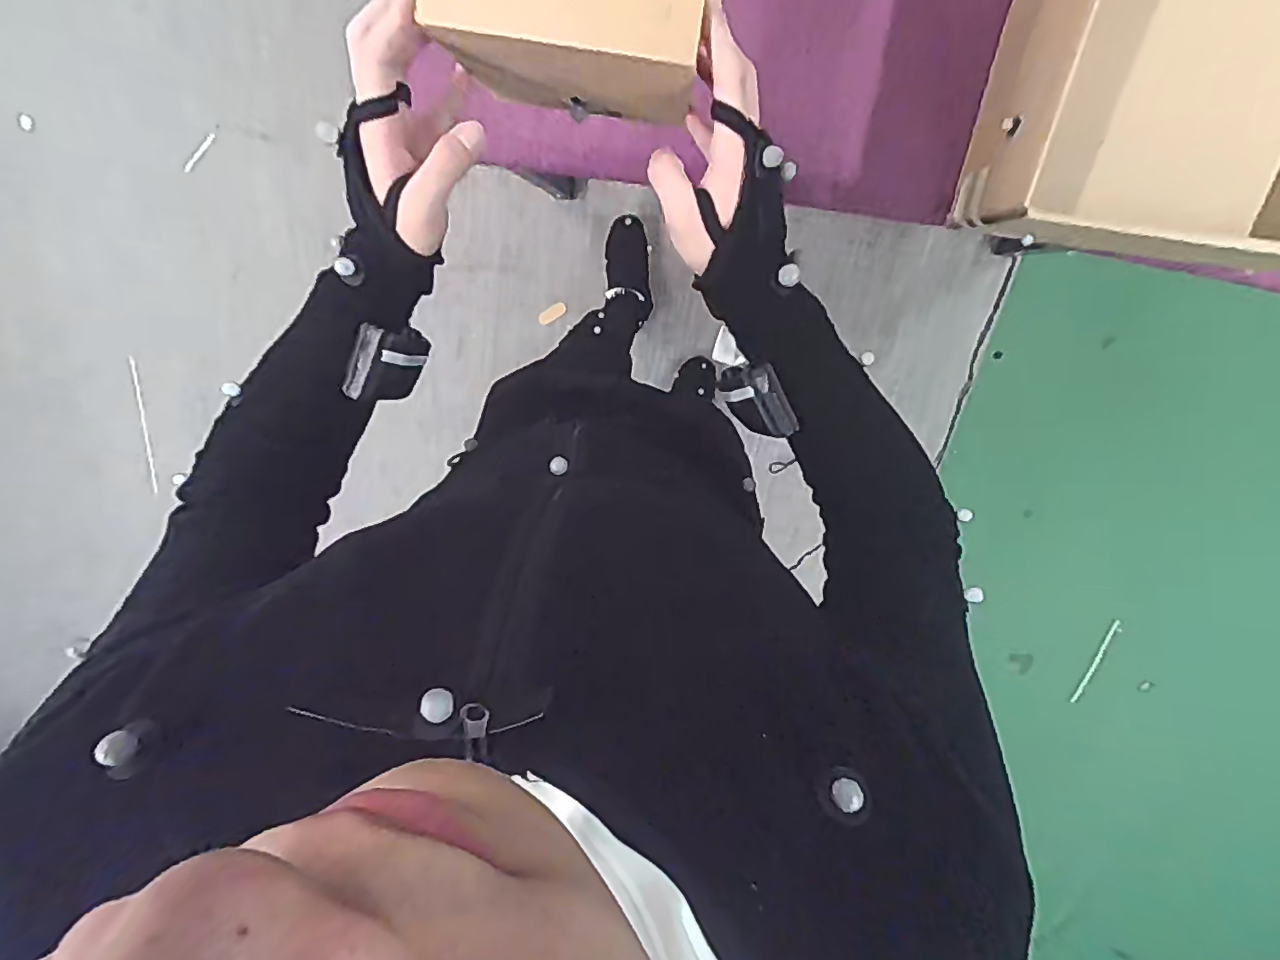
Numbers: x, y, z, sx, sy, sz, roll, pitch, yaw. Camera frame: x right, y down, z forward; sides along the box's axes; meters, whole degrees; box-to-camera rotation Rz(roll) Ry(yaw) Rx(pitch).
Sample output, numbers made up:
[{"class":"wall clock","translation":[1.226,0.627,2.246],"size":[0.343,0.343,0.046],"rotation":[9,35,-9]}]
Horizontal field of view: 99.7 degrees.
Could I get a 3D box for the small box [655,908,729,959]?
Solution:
[{"class":"small box","translation":[0.150,1.346,1.504],"size":[0.168,0.176,0.179],"rotation":[-20,104,12]}]
